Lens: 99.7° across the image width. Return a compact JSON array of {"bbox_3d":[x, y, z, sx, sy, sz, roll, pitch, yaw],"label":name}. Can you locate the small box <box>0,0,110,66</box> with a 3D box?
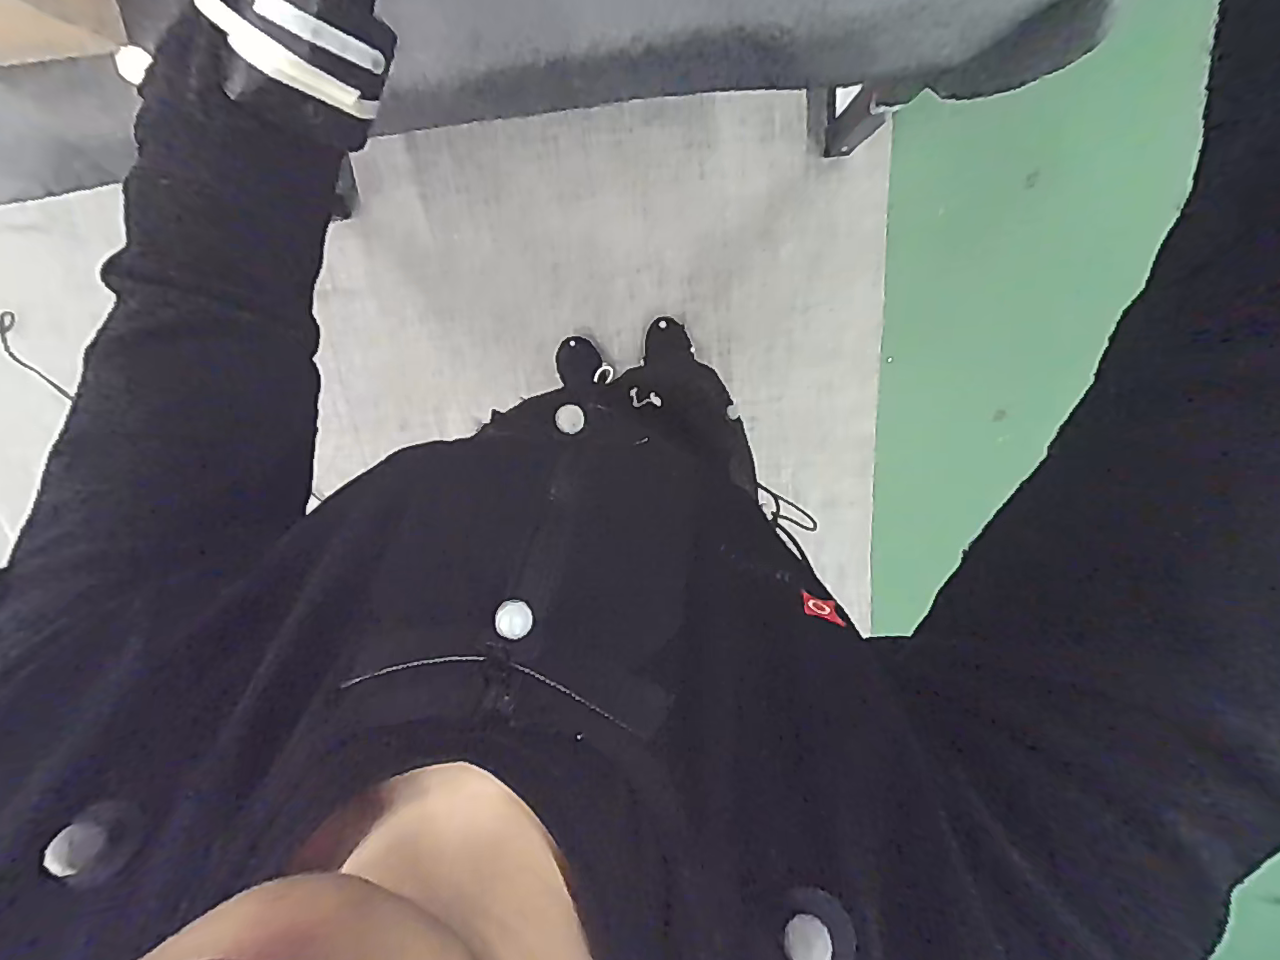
[{"bbox_3d":[-0.587,-0.463,0.430,0.179,0.176,0.168,-2,107,5],"label":"small box"}]
